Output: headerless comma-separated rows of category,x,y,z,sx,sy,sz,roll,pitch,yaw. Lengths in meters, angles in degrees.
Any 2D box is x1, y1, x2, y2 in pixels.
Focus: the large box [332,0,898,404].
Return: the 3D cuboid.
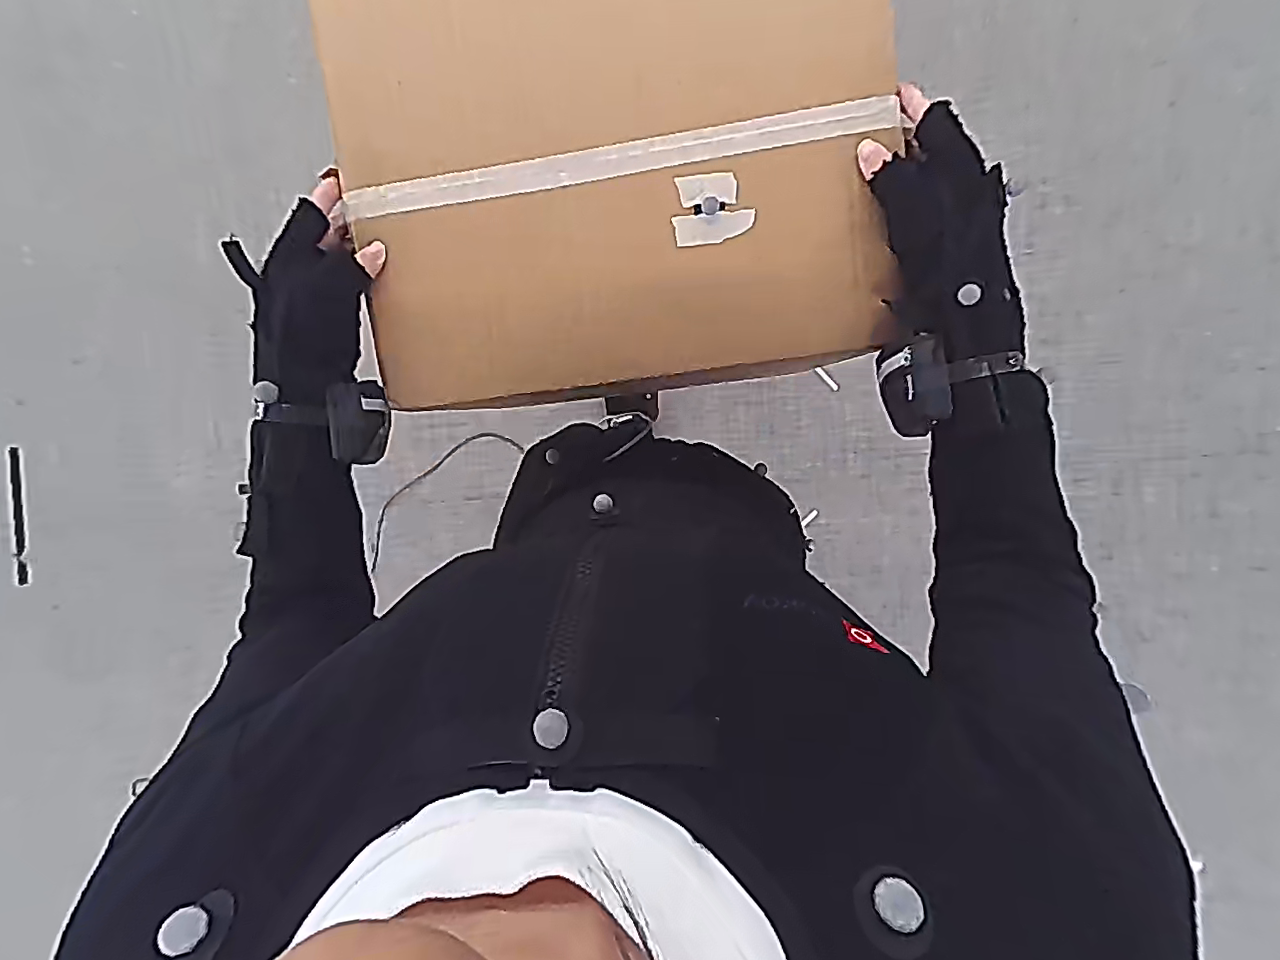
large box,-0.011,-0.260,0.556,0.408,0.320,0.320,-7,98,5
